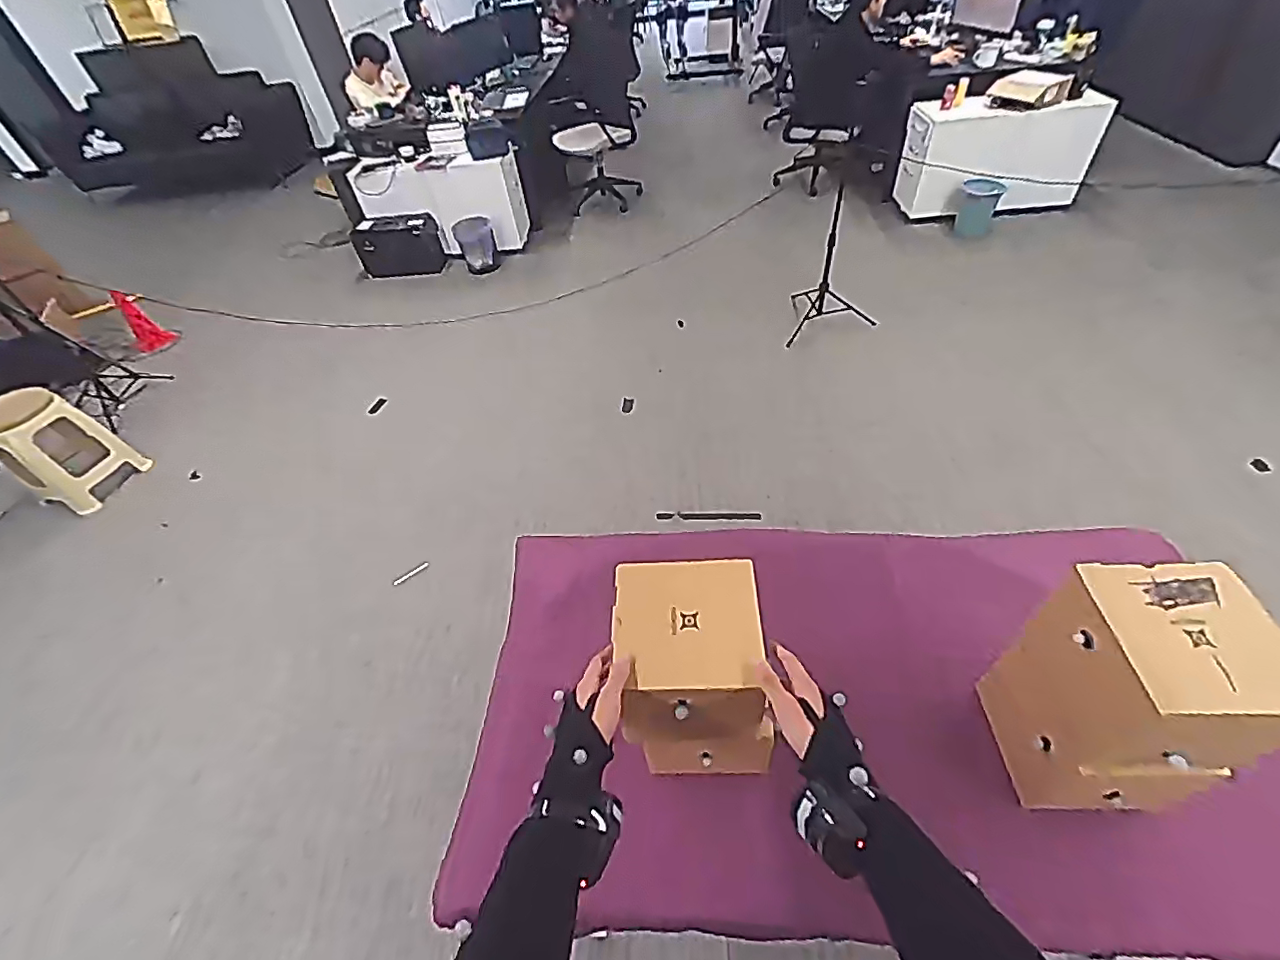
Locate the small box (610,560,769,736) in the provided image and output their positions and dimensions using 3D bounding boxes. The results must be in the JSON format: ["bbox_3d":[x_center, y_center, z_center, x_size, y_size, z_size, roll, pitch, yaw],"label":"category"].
[{"bbox_3d":[0.064,0.220,0.699,0.179,0.176,0.168,-4,47,6],"label":"small box"}]

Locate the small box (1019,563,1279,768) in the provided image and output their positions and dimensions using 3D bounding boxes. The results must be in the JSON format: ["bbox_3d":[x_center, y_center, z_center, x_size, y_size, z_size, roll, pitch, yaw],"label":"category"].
[{"bbox_3d":[0.591,0.216,0.634,0.168,0.176,0.179,-2,48,6],"label":"small box"}]

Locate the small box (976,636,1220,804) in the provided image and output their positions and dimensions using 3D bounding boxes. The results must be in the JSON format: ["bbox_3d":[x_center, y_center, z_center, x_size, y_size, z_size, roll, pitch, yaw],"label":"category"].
[{"bbox_3d":[0.605,0.334,0.748,0.168,0.176,0.179,-2,47,5],"label":"small box"}]
